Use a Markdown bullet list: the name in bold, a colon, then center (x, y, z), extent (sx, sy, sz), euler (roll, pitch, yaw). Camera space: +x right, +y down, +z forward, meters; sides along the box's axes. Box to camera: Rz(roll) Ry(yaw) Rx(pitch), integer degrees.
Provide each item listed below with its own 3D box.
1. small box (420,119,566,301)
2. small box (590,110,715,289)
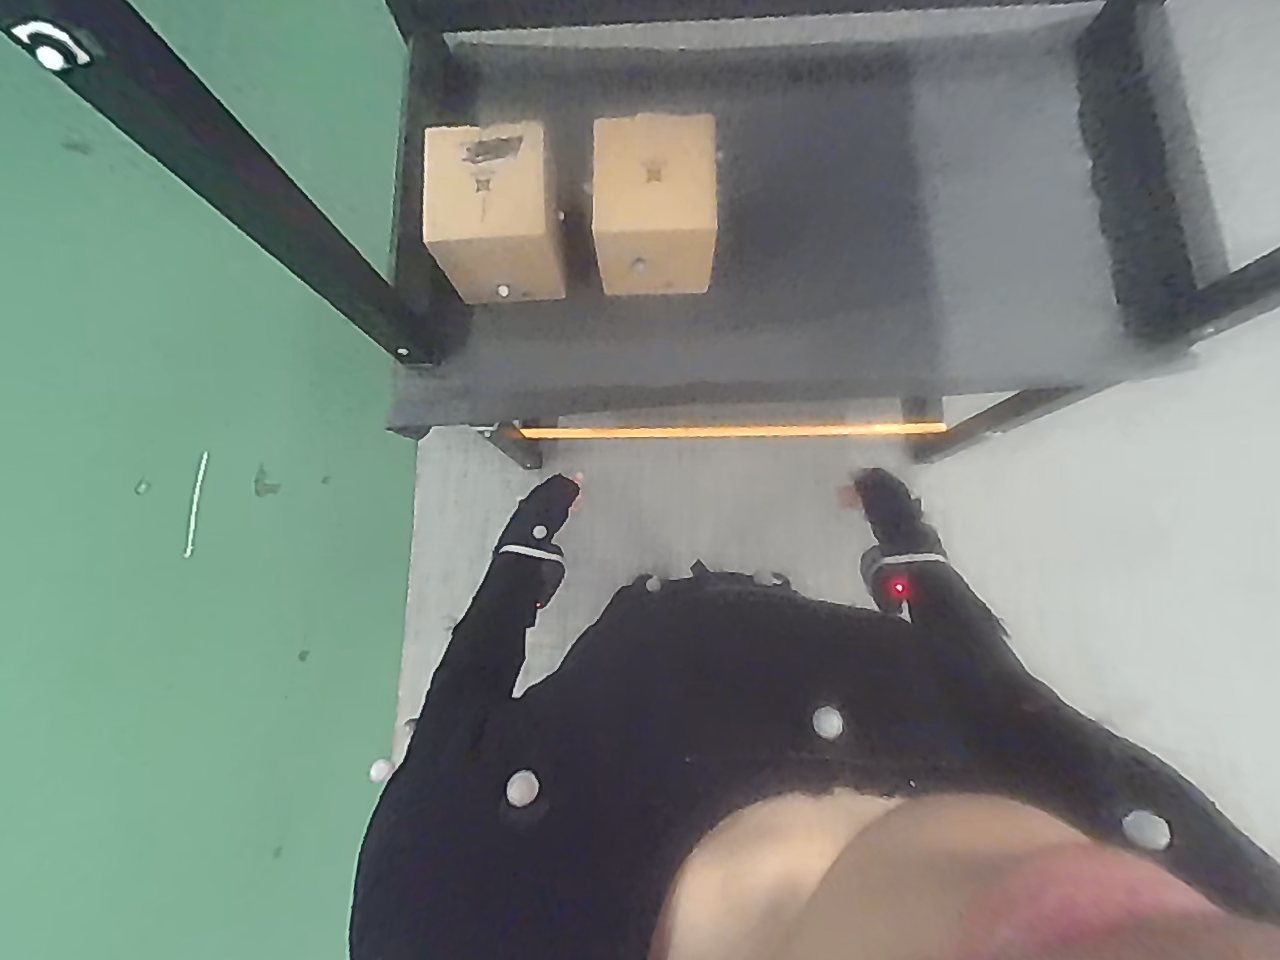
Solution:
- **small box**: center (-0.206, -0.388, 0.798), extent (0.168, 0.176, 0.179), euler (-3, 79, 2)
- **small box**: center (0.021, -0.396, 0.792), extent (0.168, 0.176, 0.179), euler (-1, 78, 2)
